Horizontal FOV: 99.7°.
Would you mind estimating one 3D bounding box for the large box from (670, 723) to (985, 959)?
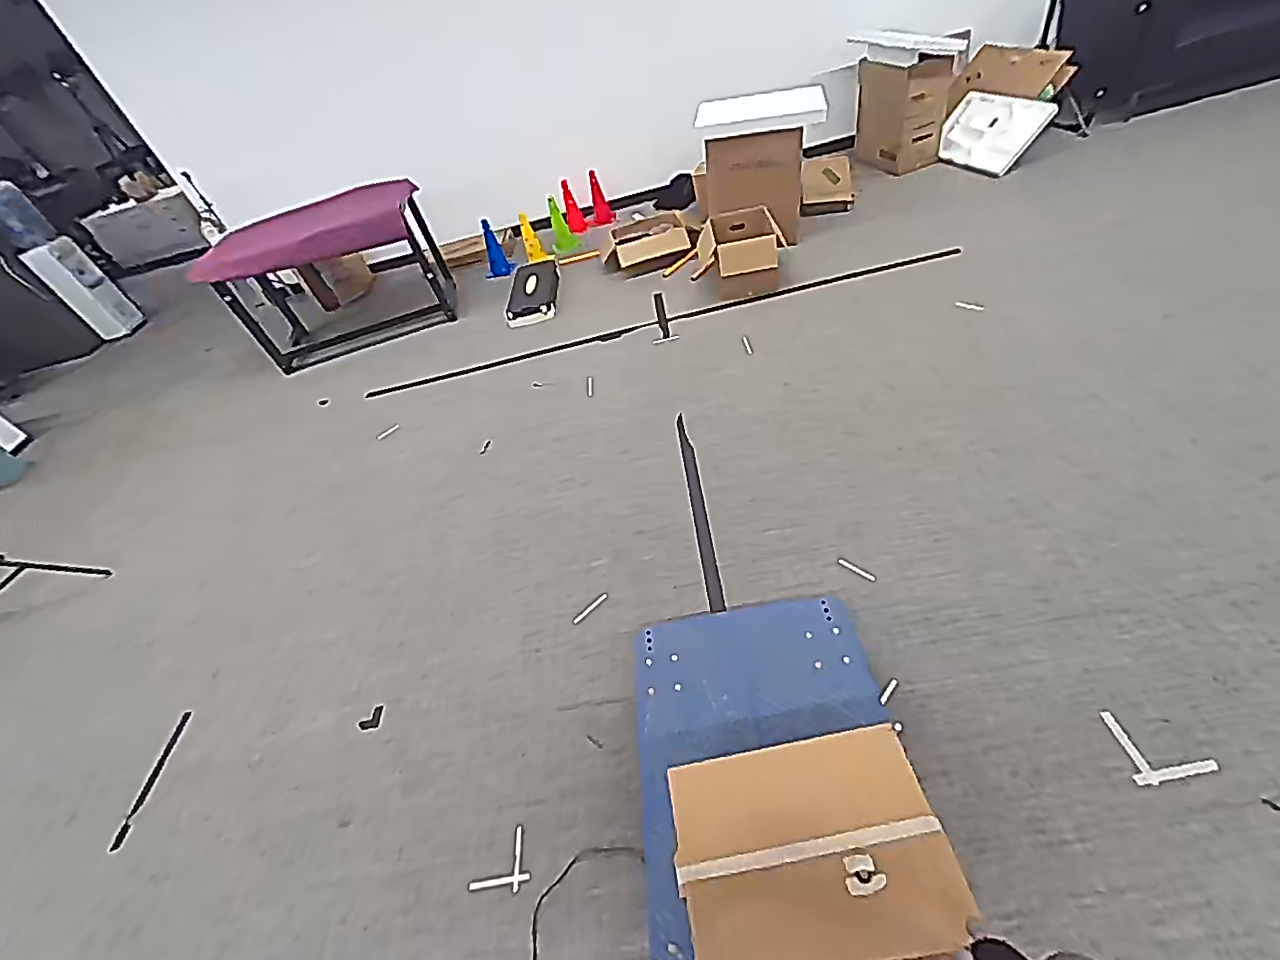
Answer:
[{"bbox_3d":[0.292,0.684,0.957,0.408,0.320,0.320,-13,44,2],"label":"large box"}]
